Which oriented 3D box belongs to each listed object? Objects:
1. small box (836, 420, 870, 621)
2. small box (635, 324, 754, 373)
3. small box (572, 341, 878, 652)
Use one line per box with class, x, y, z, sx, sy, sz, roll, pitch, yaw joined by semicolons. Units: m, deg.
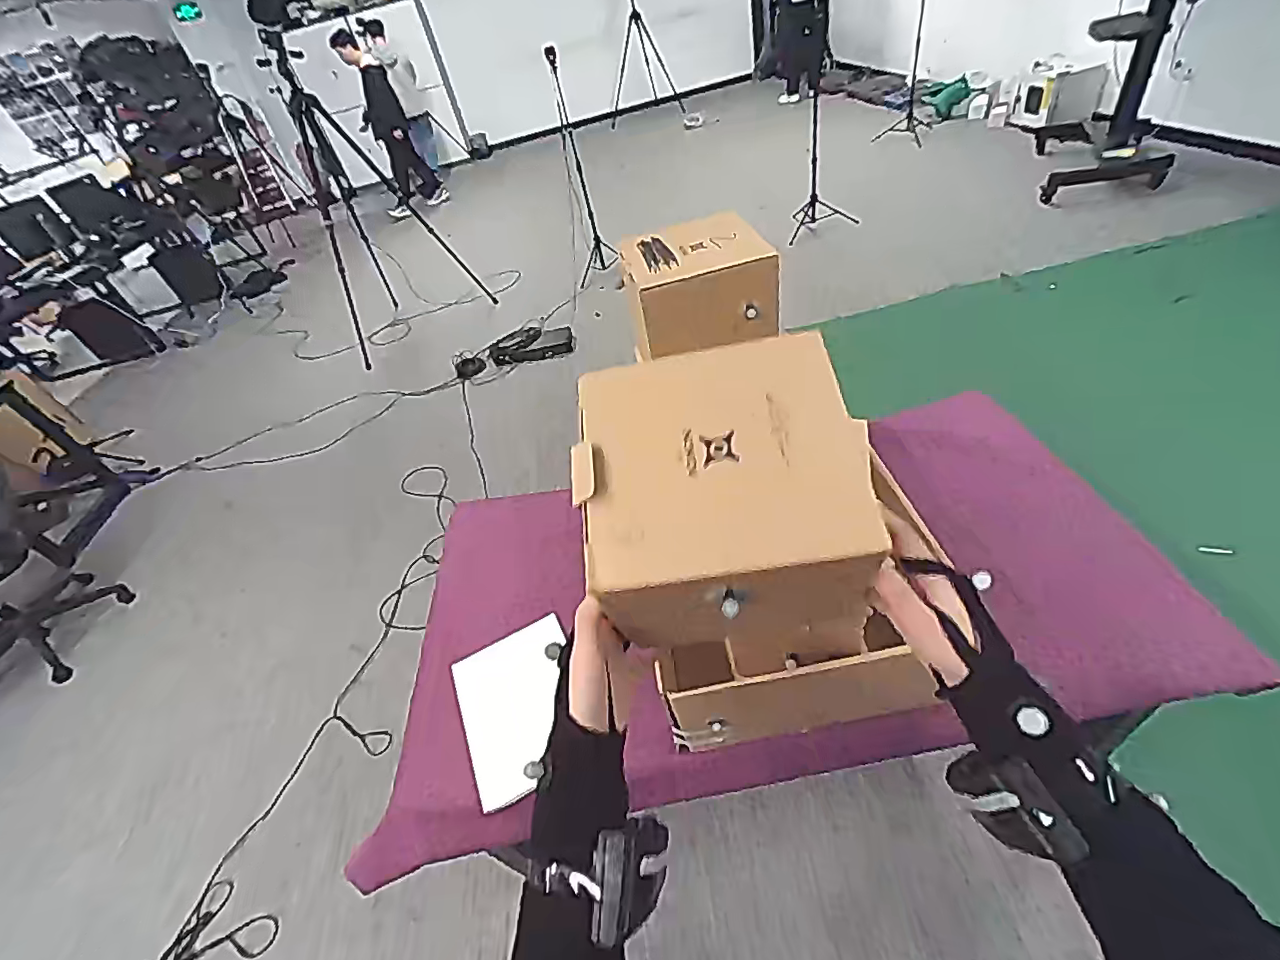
small box;0.185;0.049;0.650;0.168;0.176;0.179;0;43;20
small box;0.103;-0.118;0.863;0.179;0.176;0.168;-14;43;1
small box;0.057;0.026;0.413;0.179;0.176;0.168;-10;61;7
